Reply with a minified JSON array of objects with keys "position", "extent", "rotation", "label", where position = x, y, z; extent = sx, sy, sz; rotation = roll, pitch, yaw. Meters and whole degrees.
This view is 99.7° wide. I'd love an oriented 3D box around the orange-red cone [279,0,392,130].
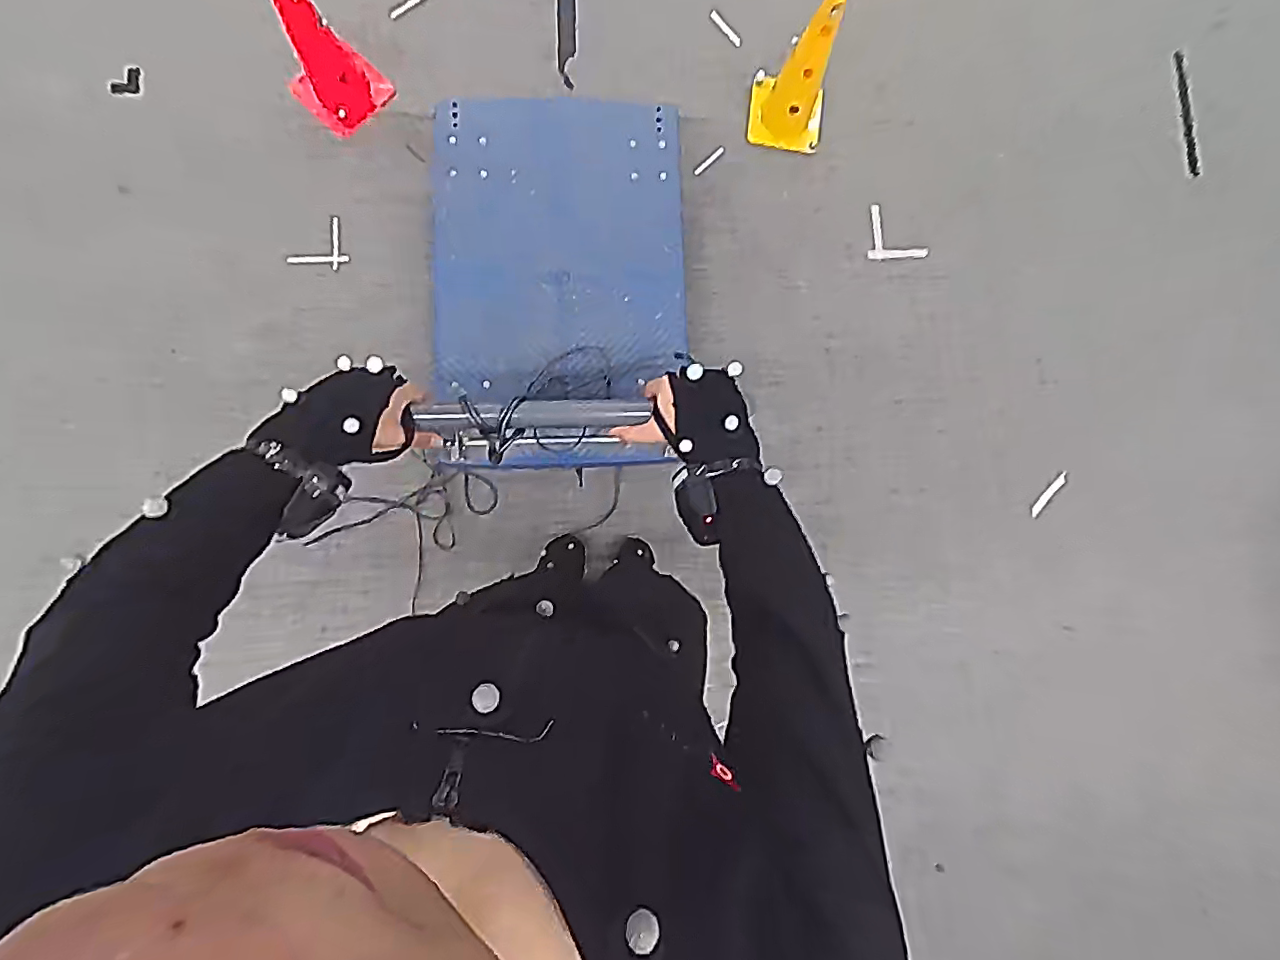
[{"position":[-0.759,-1.043,1.237],"extent":[0.198,0.360,0.199],"rotation":[44,83,-2],"label":"orange-red cone"}]
